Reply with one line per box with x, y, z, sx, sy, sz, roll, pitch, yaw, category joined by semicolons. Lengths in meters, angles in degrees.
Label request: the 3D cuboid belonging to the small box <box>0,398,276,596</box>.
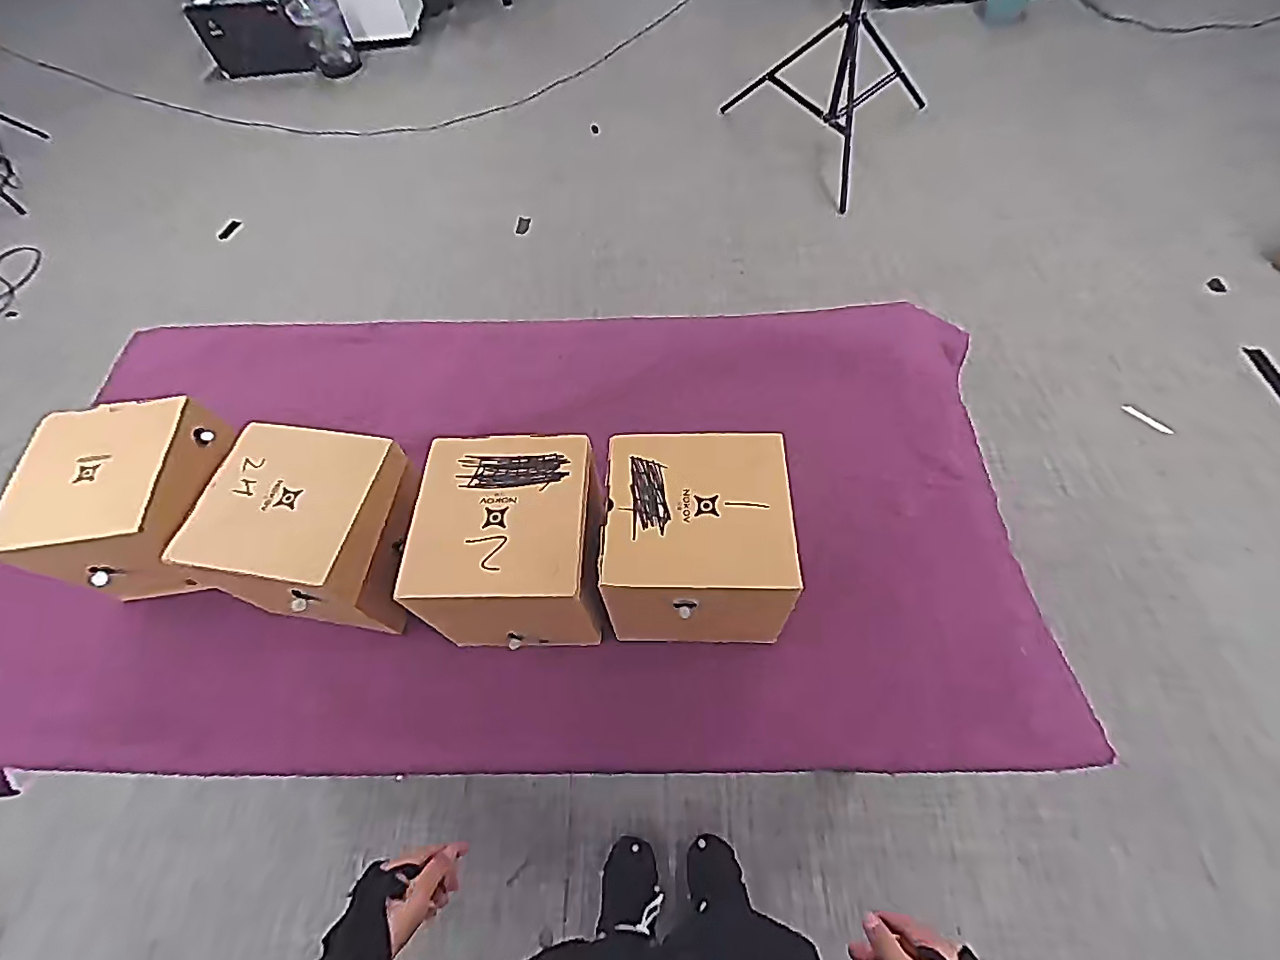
-0.579;0.031;0.649;0.168;0.176;0.179;-9;60;-1;small box
